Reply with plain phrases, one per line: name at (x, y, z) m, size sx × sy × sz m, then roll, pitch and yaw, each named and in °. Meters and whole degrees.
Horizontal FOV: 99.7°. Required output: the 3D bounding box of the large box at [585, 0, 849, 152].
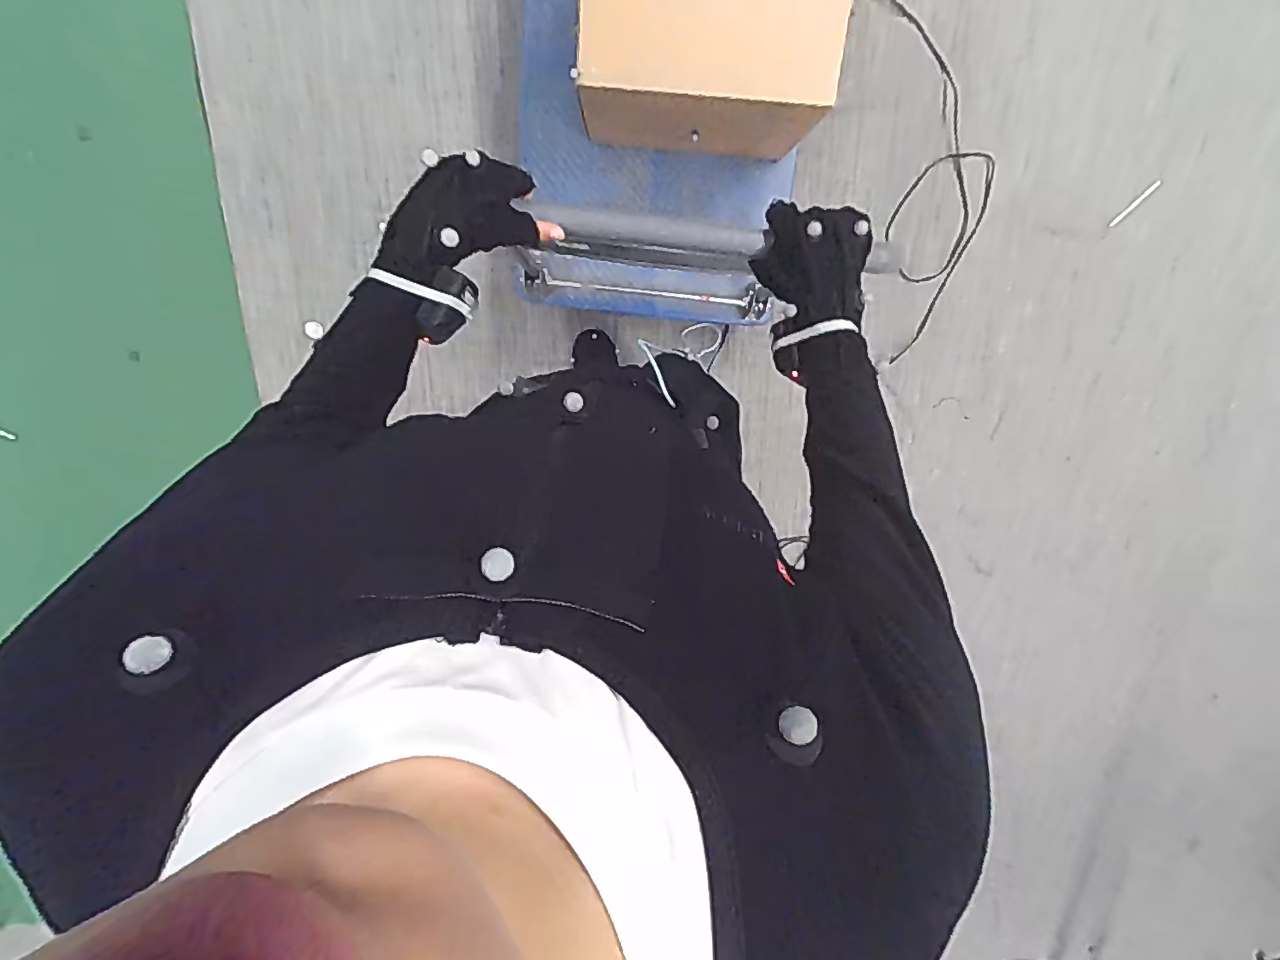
large box at (0.120, -0.791, 0.947) m, size 0.408 × 0.320 × 0.320 m, roll 3°, pitch 107°, yaw -1°
